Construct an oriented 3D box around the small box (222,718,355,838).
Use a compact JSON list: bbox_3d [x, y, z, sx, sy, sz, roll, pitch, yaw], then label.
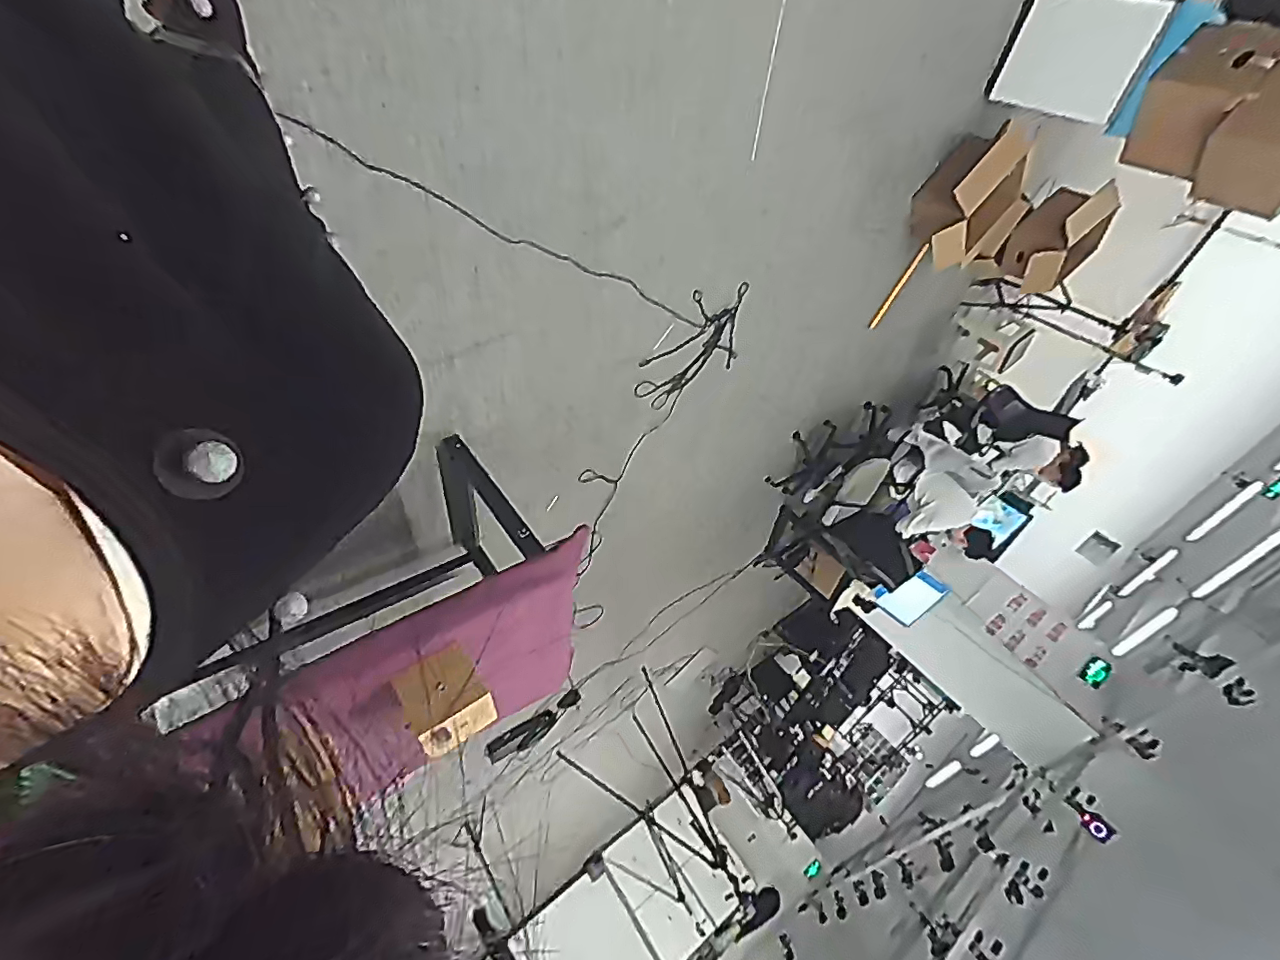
[{"bbox_3d":[-0.738,0.639,1.142,0.168,0.176,0.179,-29,145,-25],"label":"small box"}]
